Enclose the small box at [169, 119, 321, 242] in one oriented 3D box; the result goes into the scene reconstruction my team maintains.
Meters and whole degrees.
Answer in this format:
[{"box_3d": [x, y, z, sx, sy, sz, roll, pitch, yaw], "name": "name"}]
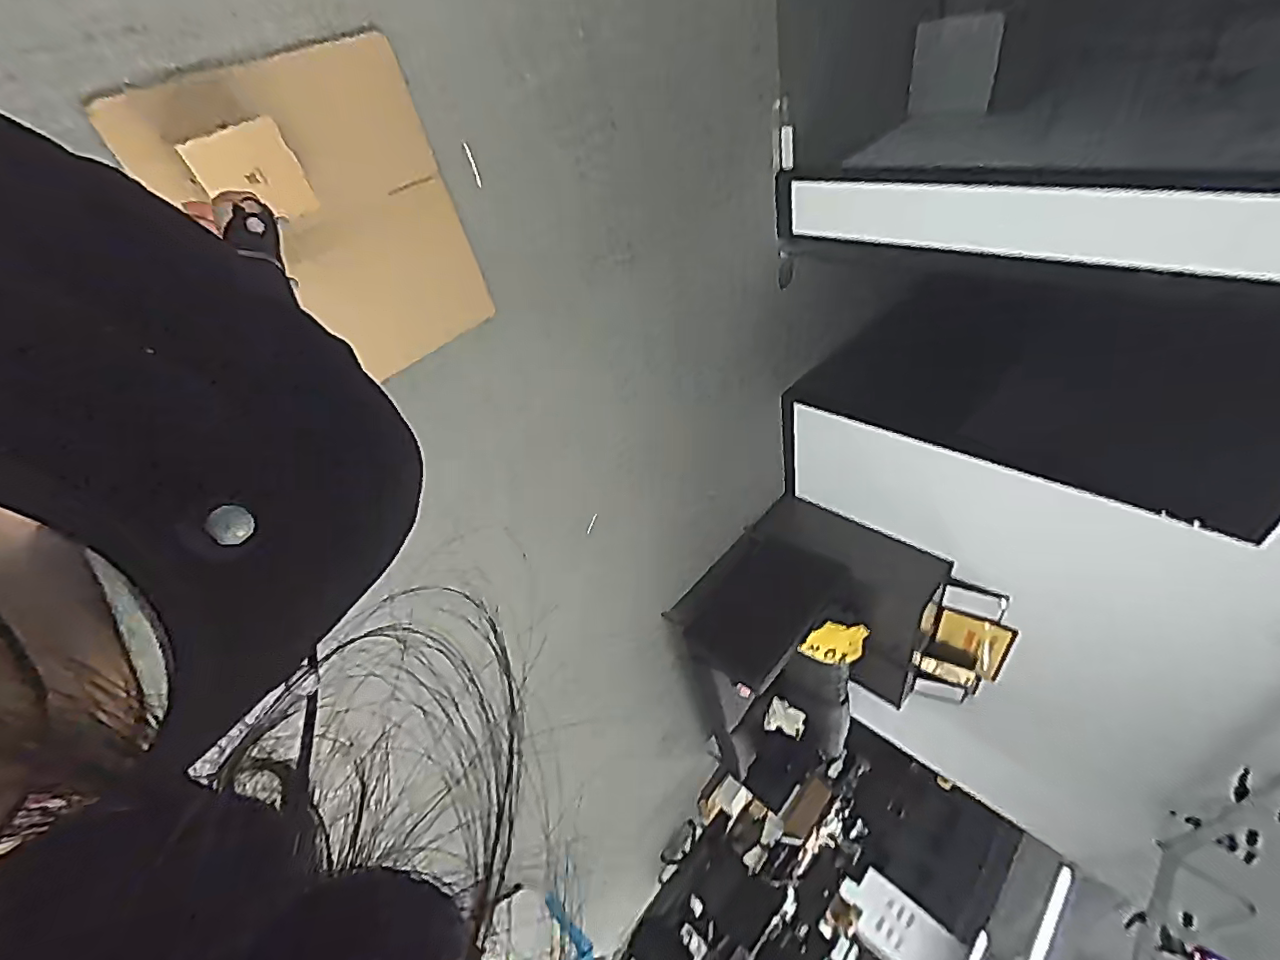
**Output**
[{"box_3d": [-0.790, -0.597, 1.080, 0.179, 0.176, 0.168, -43, 139, -26], "name": "small box"}]
